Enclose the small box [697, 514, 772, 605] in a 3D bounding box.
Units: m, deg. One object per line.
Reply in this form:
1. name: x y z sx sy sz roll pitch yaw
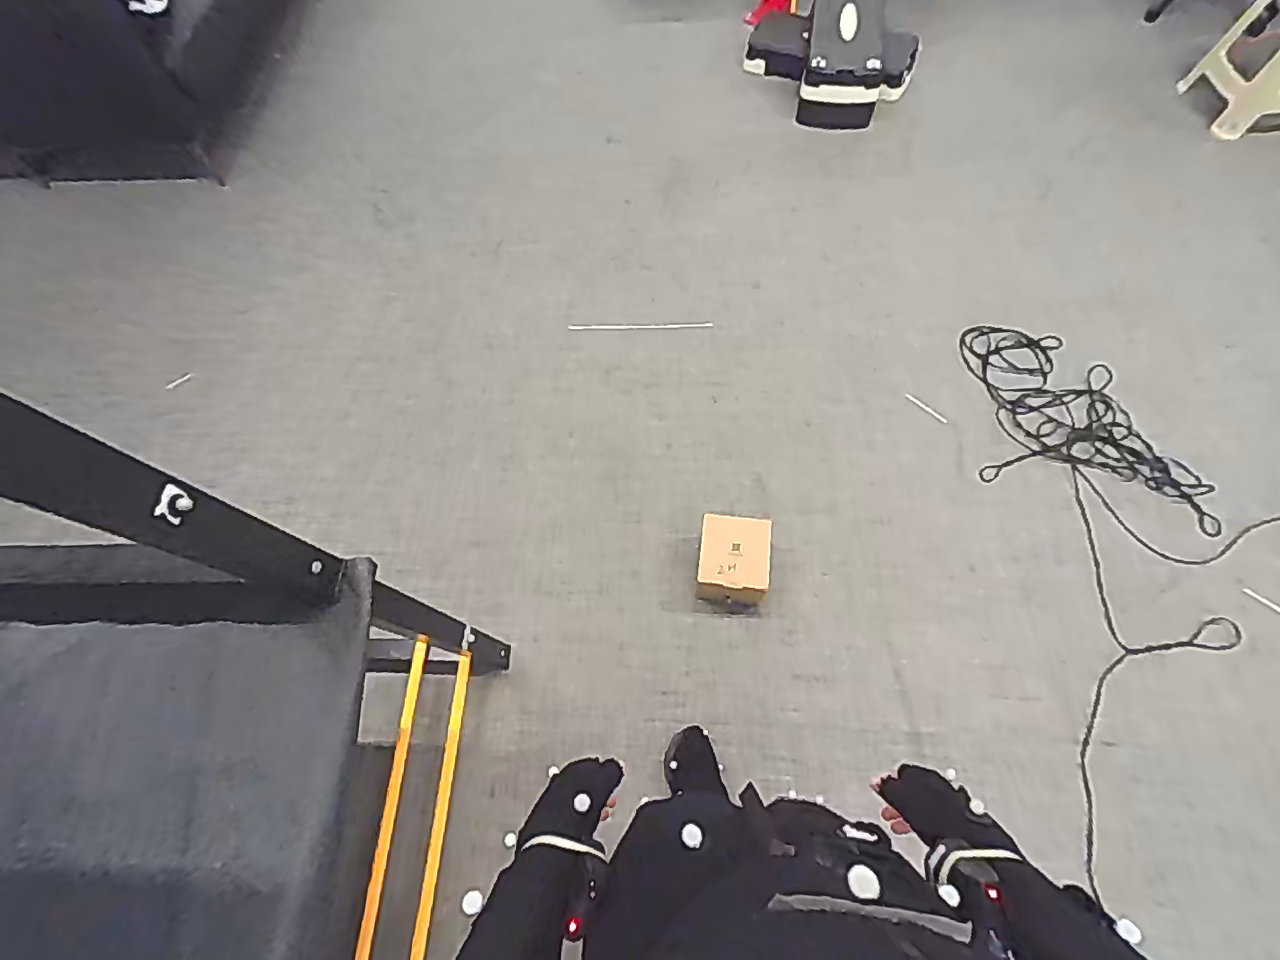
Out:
1. small box: 0.235 0.203 1.362 0.168 0.176 0.179 6 67 7
